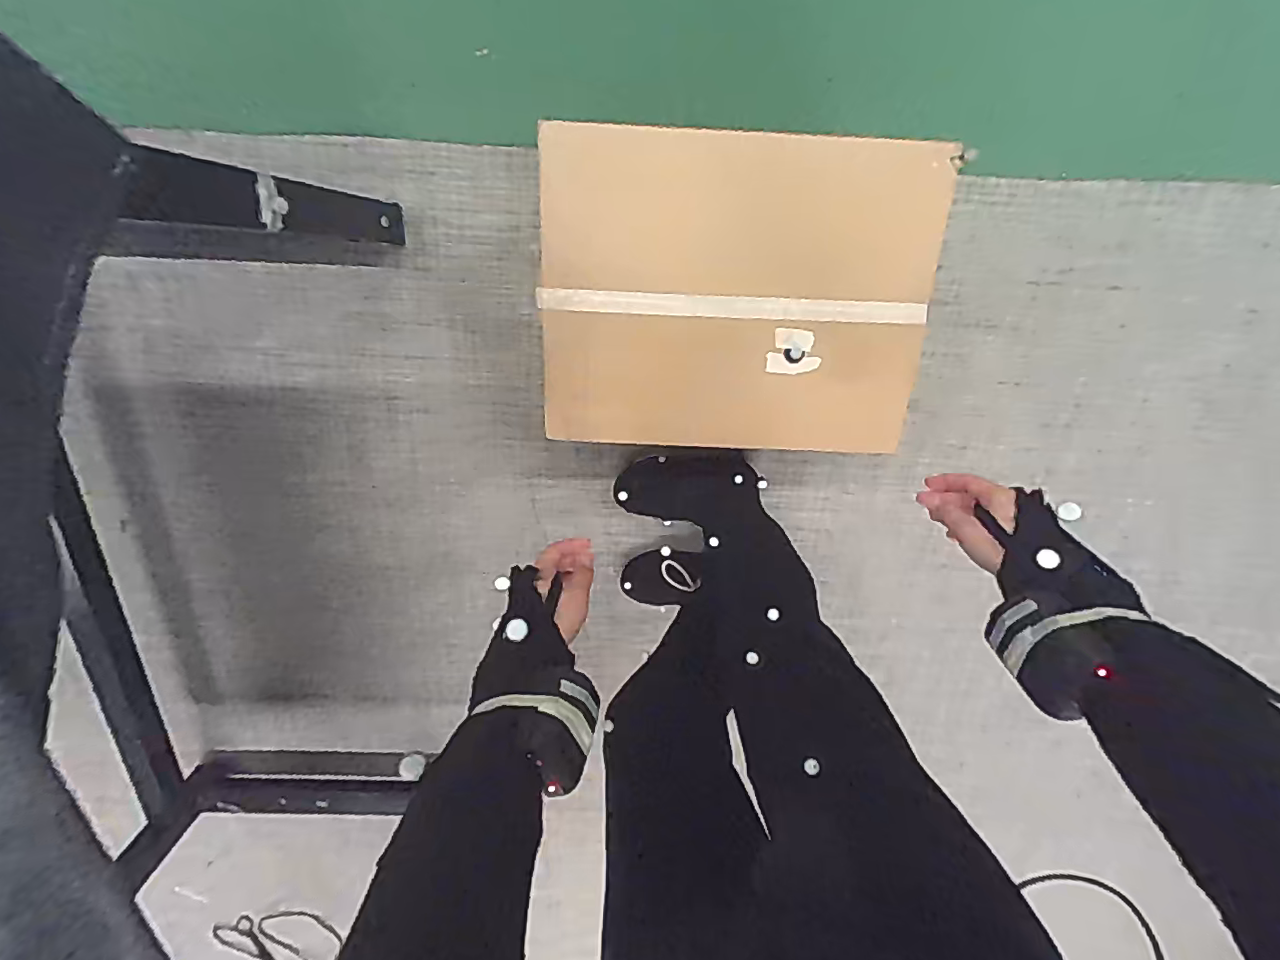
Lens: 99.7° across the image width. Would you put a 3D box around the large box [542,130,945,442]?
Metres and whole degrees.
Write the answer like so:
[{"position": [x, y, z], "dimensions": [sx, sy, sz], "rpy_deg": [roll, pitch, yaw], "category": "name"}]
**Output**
[{"position": [0.096, -0.240, 0.716], "dimensions": [0.408, 0.320, 0.320], "rpy_deg": [1, 111, -2], "category": "large box"}]
